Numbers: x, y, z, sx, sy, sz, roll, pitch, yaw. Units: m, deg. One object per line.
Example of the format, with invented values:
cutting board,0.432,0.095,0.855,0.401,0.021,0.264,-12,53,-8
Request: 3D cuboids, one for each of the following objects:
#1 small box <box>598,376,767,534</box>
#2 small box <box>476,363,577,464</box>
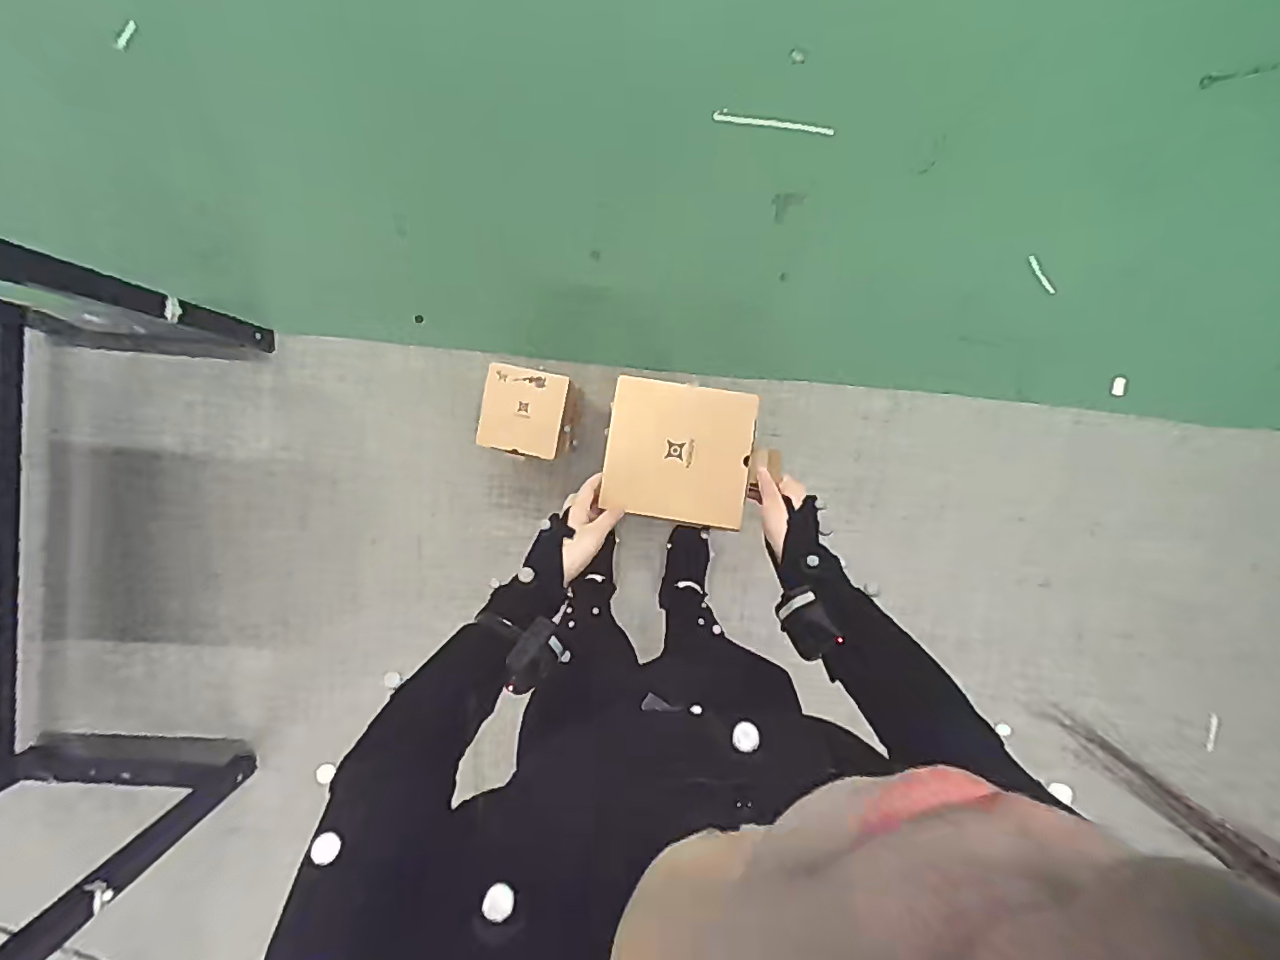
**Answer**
small box,0.052,-0.023,0.702,0.179,0.176,0.168,9,85,3
small box,-0.235,-0.137,1.163,0.168,0.176,0.179,11,93,-1
